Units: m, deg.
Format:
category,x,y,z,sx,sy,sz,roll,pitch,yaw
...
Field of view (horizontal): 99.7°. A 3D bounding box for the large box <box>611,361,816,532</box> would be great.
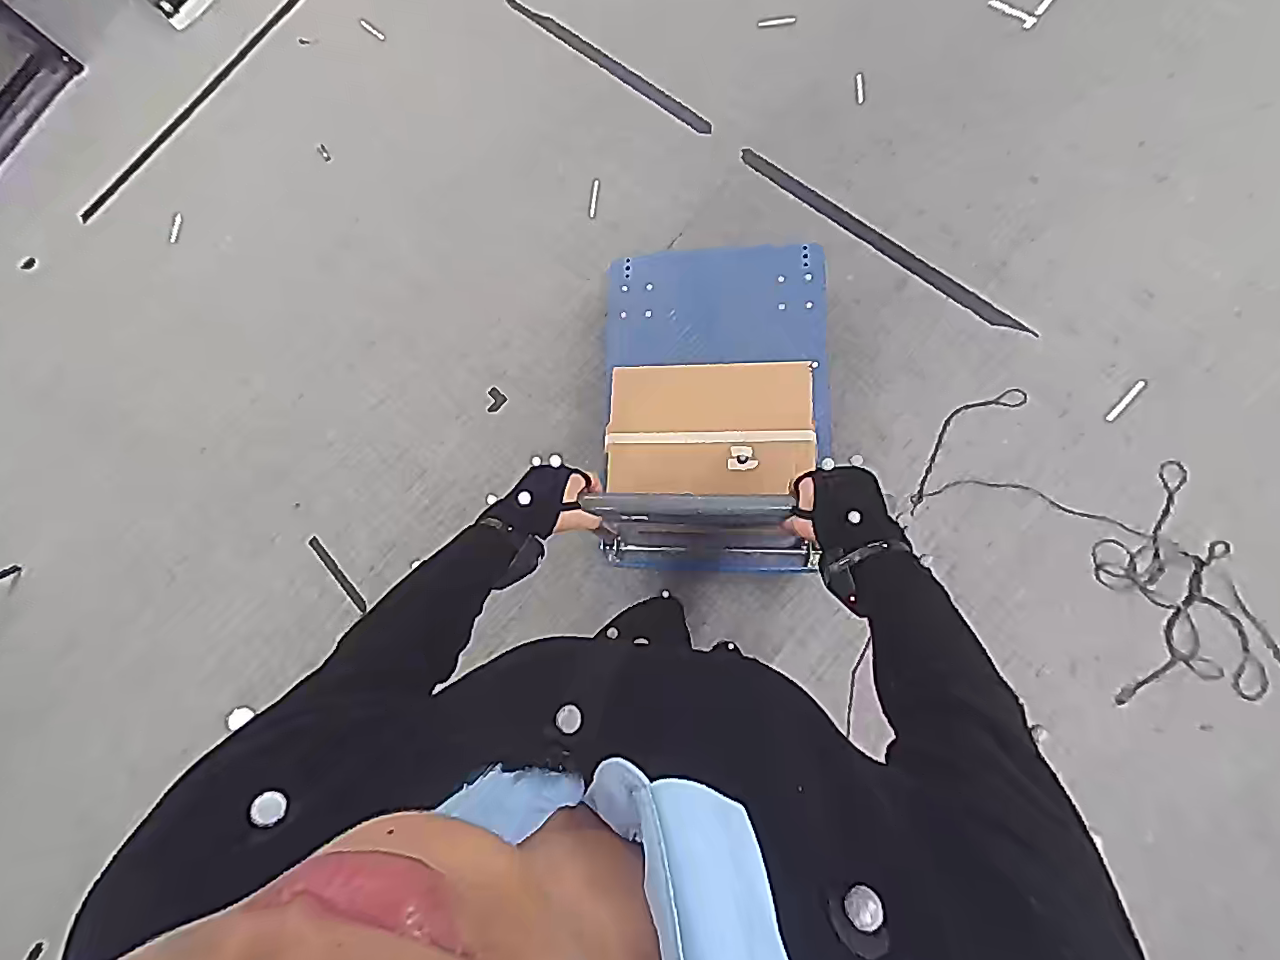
category,x,y,z,sx,sy,sz,roll,pitch,yaw
large box,0.159,-0.055,1.222,0.408,0.320,0.320,0,79,9
